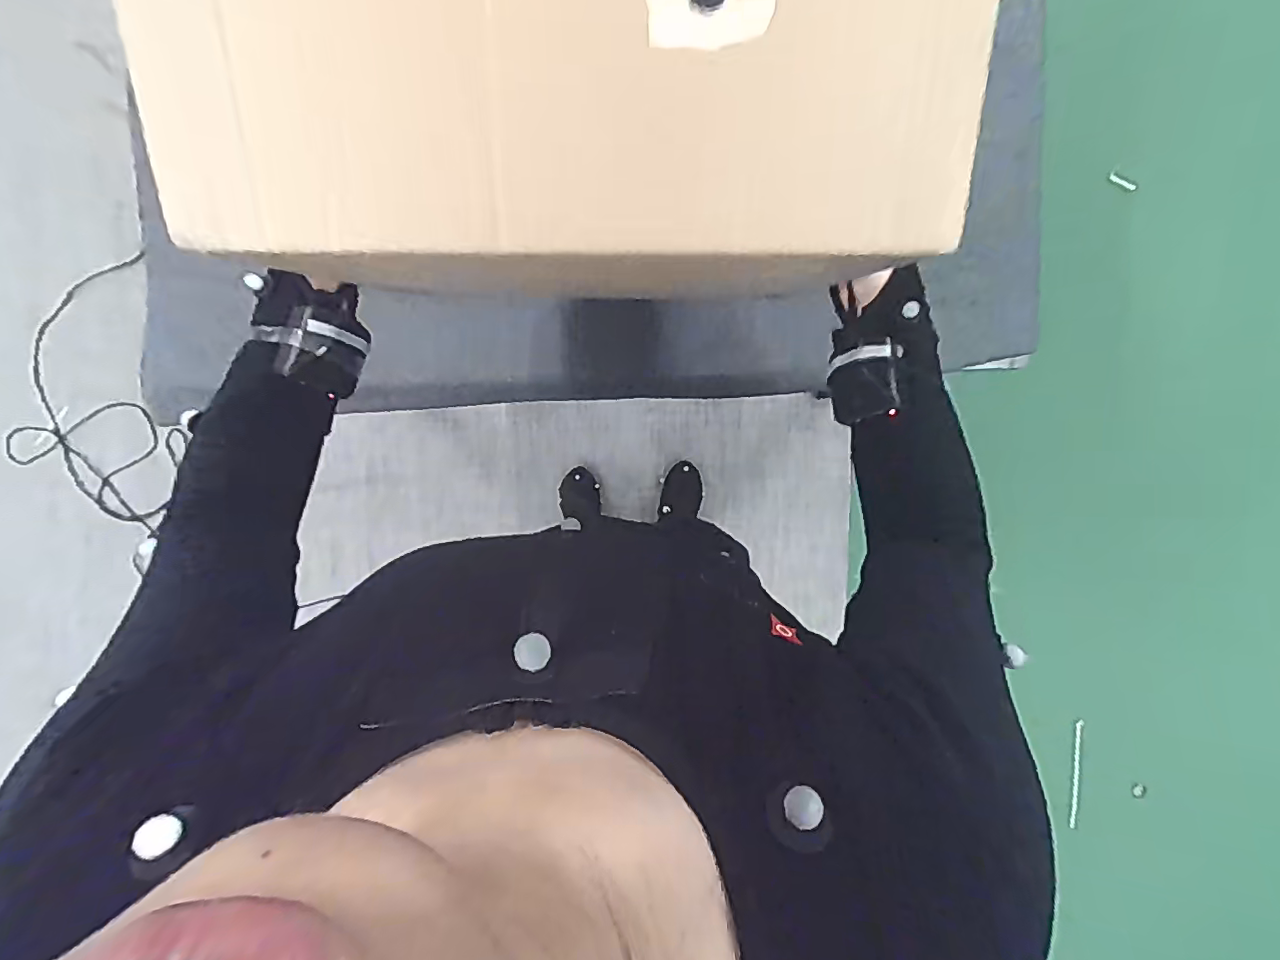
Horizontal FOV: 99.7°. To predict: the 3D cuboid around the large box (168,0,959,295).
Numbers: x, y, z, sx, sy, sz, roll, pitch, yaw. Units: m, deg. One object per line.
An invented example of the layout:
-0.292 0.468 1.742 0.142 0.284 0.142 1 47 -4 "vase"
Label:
-0.041 -0.317 0.407 0.408 0.320 0.320 -1 106 -2 "large box"
